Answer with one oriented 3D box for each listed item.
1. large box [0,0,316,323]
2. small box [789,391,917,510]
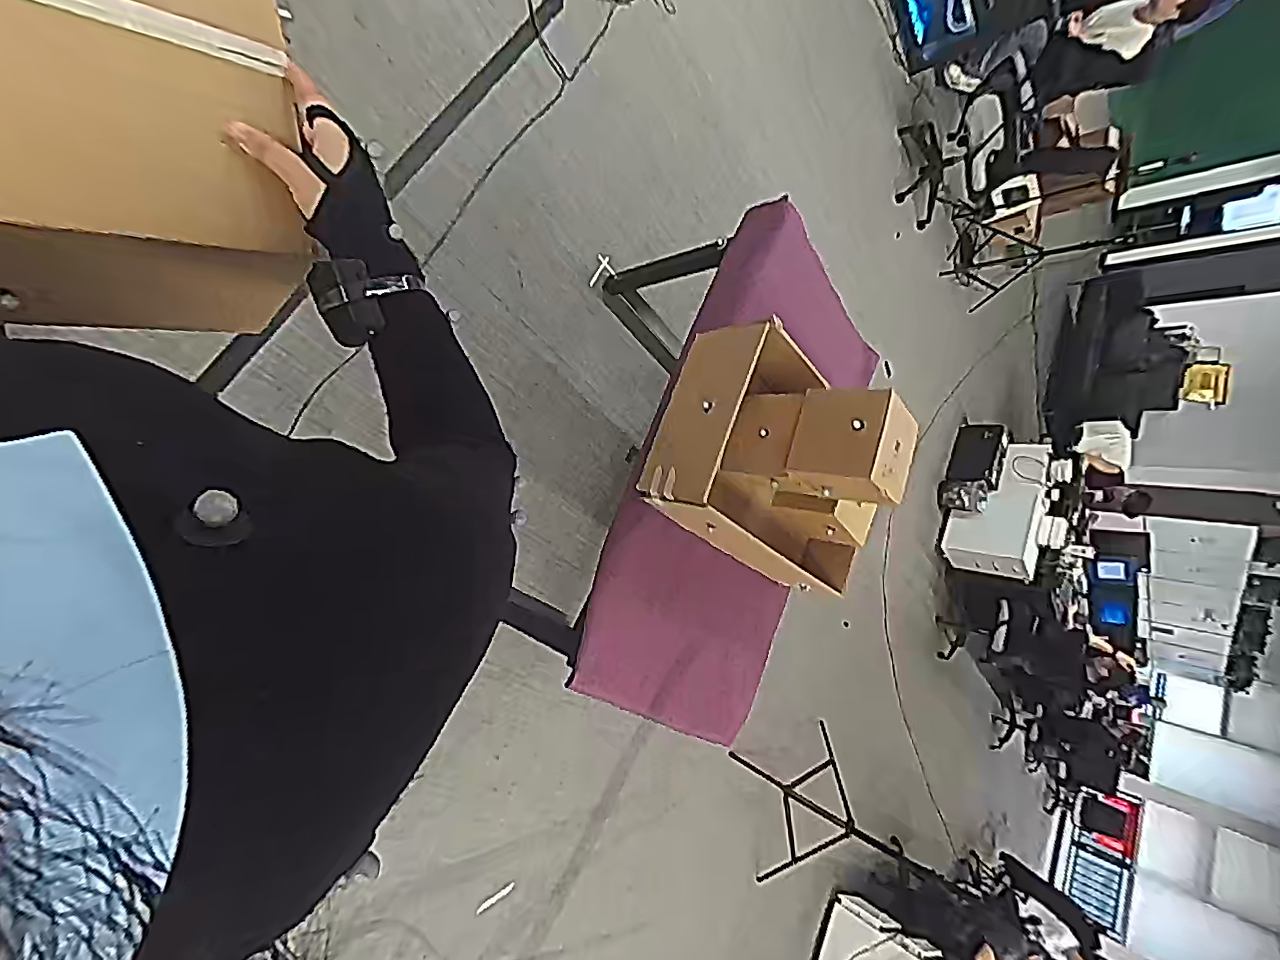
[{"bbox_3d":[-0.543,-0.316,0.434,0.408,0.320,0.320,-12,96,-42],"label":"large box"},{"bbox_3d":[0.412,-0.059,1.054,0.168,0.176,0.179,28,77,-43],"label":"small box"}]
